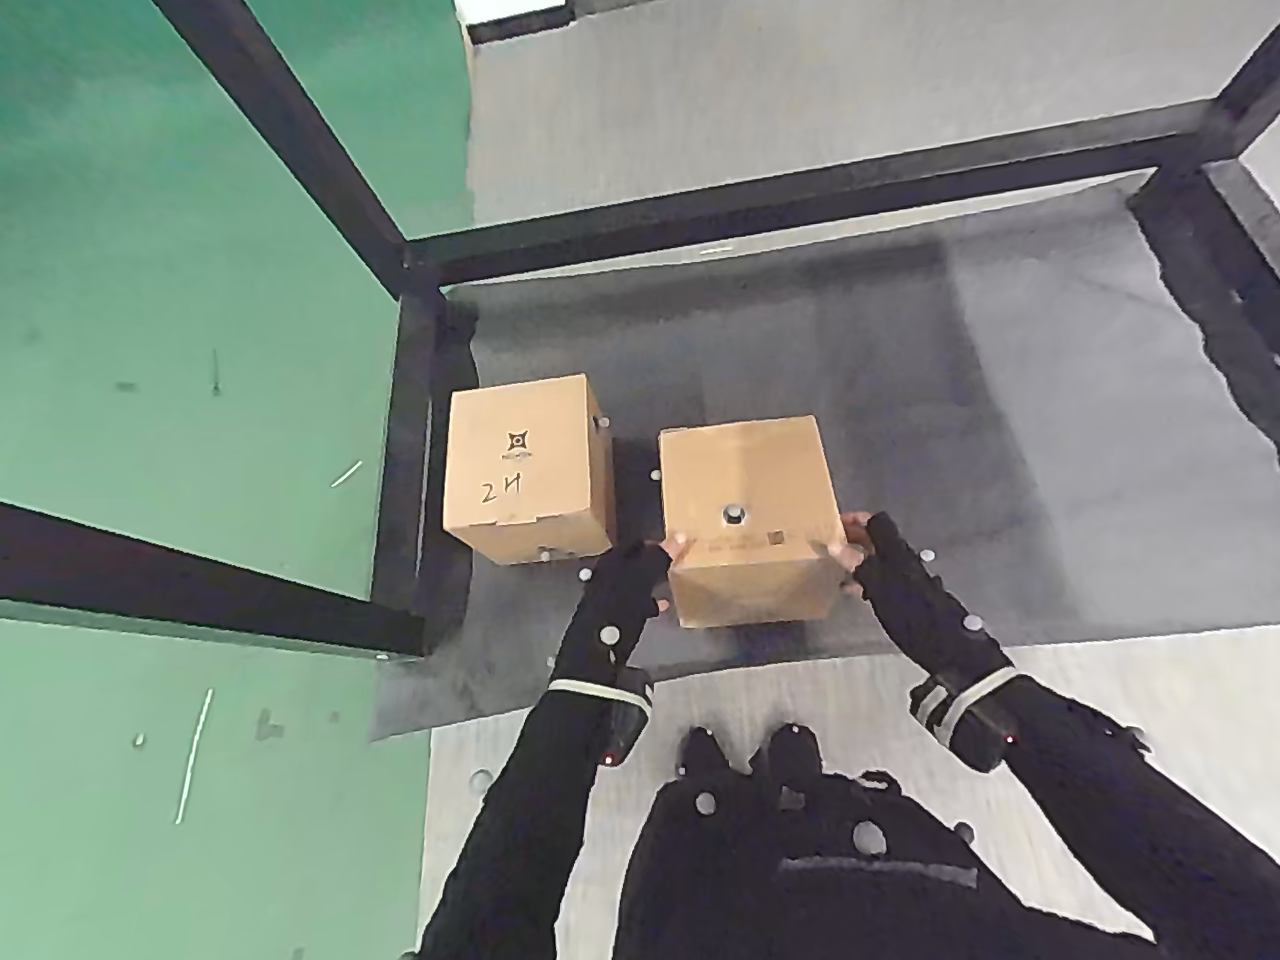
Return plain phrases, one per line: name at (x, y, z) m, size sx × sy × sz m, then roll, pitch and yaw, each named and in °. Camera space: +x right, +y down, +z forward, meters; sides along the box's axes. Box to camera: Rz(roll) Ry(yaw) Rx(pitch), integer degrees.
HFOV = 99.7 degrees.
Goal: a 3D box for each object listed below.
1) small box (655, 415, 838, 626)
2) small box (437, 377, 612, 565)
small box at (0.110, 0.054, 0.602) m, size 0.168 × 0.179 × 0.176 m, roll -6°, pitch 56°, yaw 6°
small box at (-0.132, -0.004, 0.681) m, size 0.168 × 0.176 × 0.179 m, roll -7°, pitch 66°, yaw 6°
